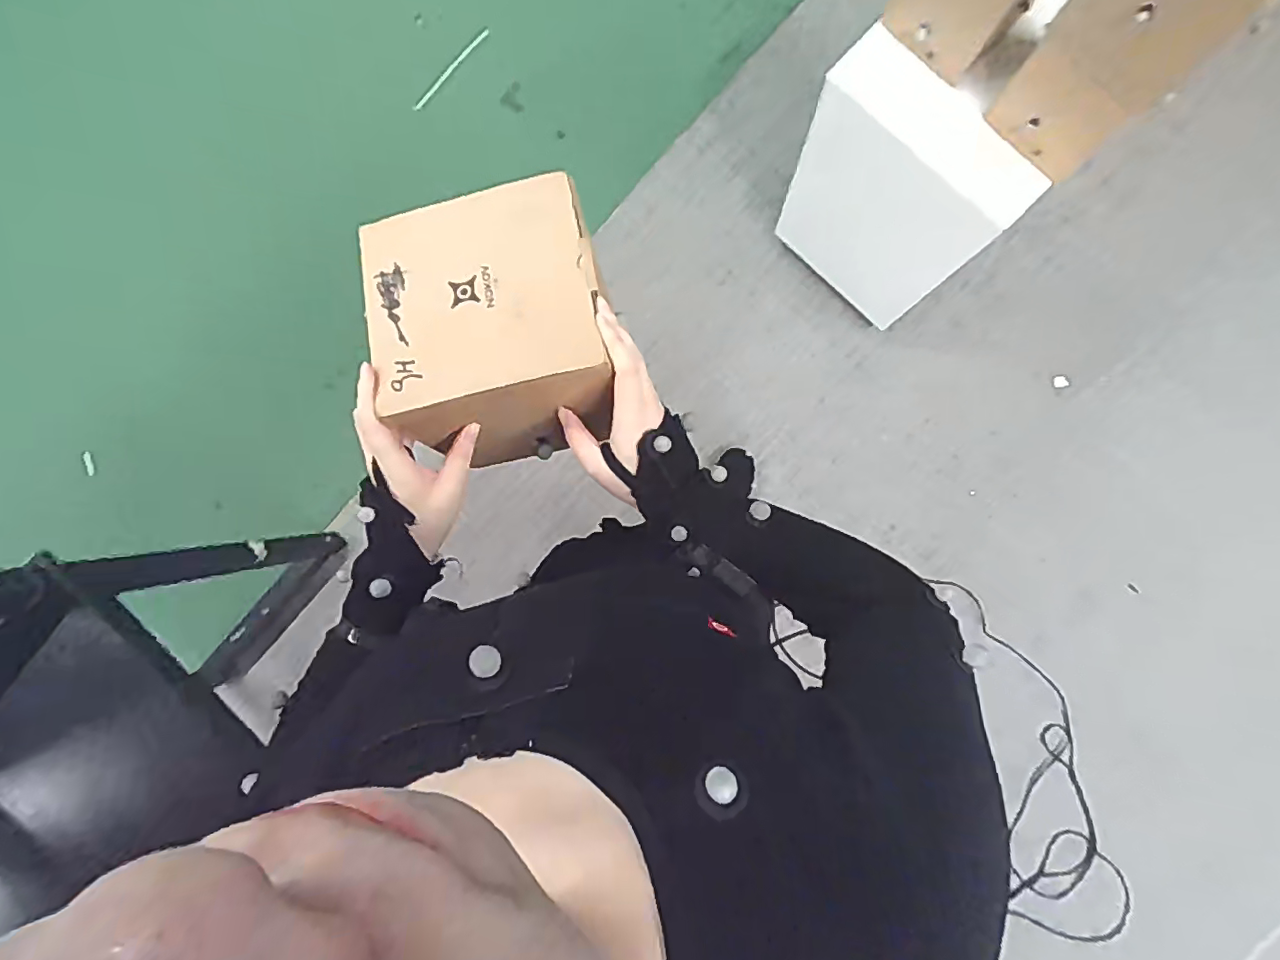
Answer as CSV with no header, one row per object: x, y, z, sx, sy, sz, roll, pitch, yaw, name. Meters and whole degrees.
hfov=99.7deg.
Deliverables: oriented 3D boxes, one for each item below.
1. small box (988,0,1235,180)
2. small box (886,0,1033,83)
0.668,-0.595,0.793,0.179,0.176,0.168,-44,85,3,small box
0.509,-0.764,0.810,0.168,0.176,0.179,45,93,4,small box
